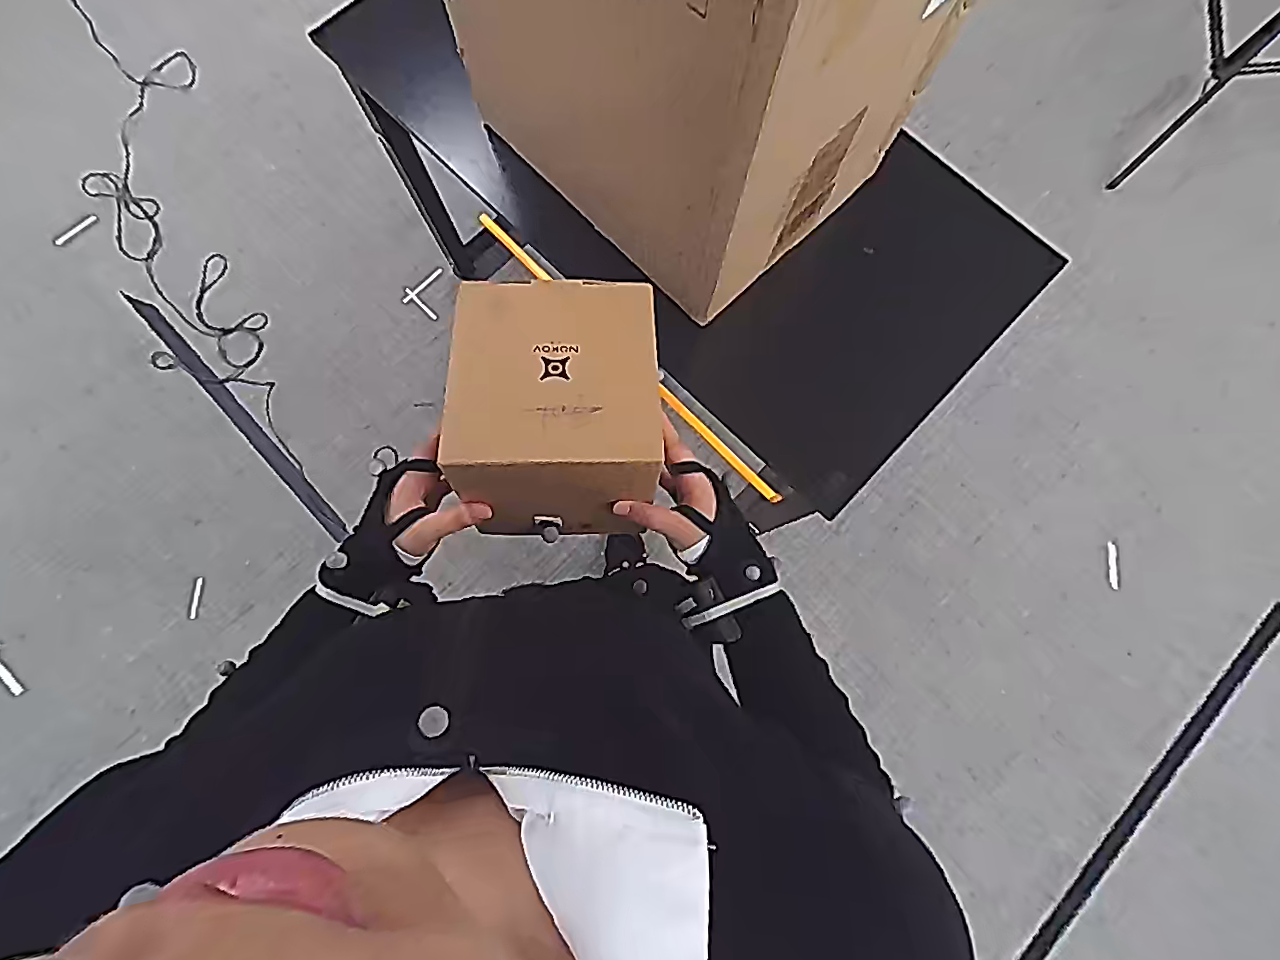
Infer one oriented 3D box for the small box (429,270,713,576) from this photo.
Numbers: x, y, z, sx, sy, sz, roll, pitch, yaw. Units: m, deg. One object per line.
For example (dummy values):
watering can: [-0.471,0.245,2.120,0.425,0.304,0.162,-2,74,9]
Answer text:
small box: [-0.048,-0.034,0.416,0.168,0.176,0.179,-2,66,-5]
